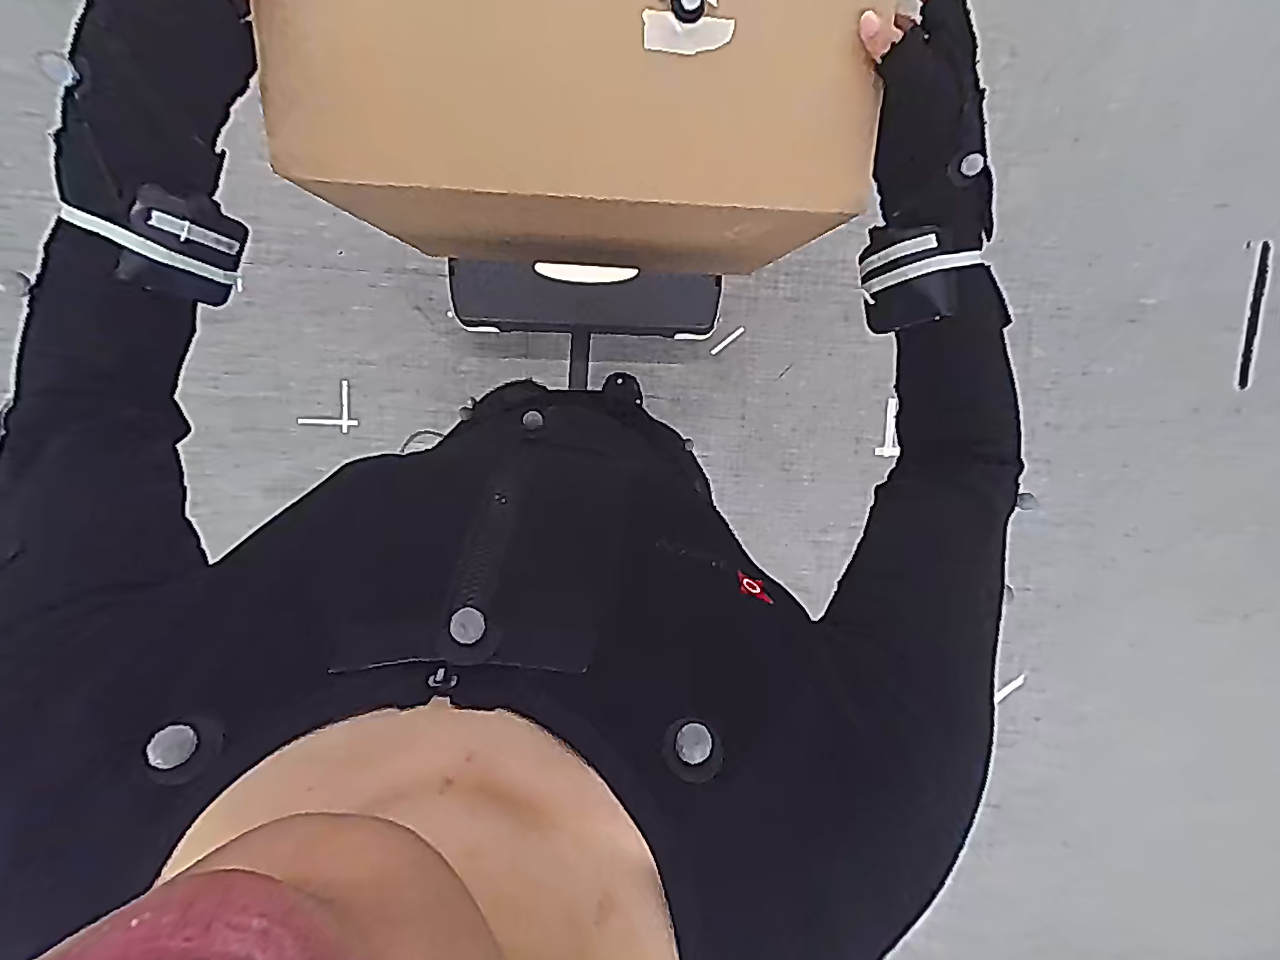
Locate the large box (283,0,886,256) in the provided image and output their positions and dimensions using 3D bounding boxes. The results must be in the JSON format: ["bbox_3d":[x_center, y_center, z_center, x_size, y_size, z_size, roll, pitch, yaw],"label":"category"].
[{"bbox_3d":[-0.041,-0.395,0.490,0.408,0.320,0.320,1,104,-4],"label":"large box"}]
